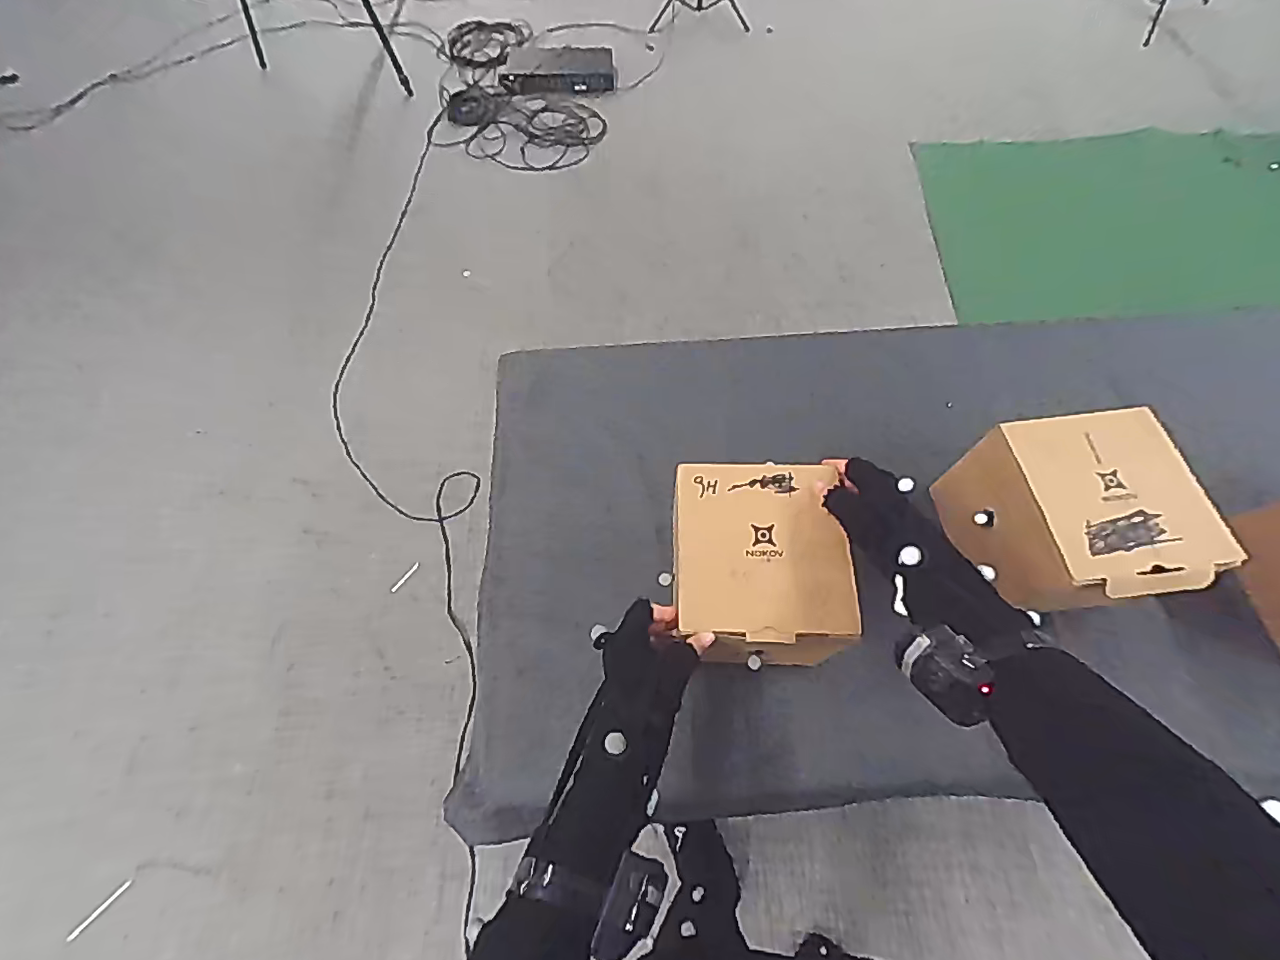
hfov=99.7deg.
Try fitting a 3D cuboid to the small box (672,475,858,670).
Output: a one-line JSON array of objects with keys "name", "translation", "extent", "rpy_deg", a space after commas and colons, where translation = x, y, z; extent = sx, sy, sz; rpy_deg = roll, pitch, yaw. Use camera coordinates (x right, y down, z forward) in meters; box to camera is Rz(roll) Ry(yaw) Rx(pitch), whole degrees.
[{"name": "small box", "translation": [0.121, 0.109, 0.594], "extent": [0.168, 0.176, 0.179], "rpy_deg": [1, 64, 2]}]

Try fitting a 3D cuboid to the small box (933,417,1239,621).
[{"name": "small box", "translation": [0.468, 0.054, 0.607], "extent": [0.168, 0.176, 0.179], "rpy_deg": [-7, 63, -1]}]

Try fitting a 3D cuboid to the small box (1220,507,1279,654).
[{"name": "small box", "translation": [0.796, 0.103, 0.571], "extent": [0.168, 0.176, 0.179], "rpy_deg": [-5, 62, -1]}]
